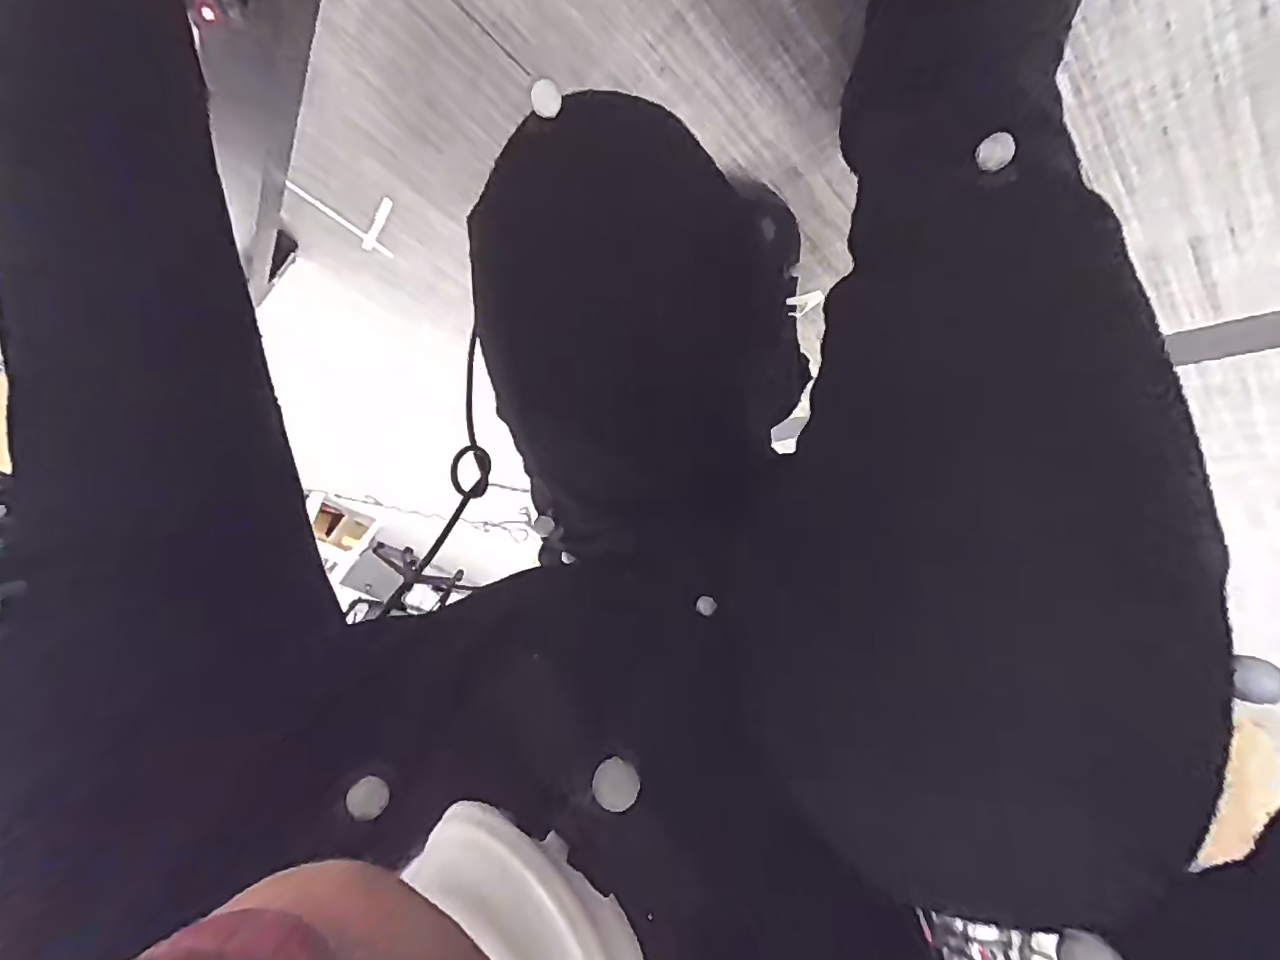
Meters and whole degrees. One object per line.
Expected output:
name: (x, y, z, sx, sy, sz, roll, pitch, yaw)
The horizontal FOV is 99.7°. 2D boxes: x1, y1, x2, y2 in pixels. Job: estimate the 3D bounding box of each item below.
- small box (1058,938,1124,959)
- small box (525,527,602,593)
small box: (1.135, 1.250, 1.310, 0.168, 0.176, 0.179, 35, 153, -32)
small box: (-0.252, 0.268, 1.811, 0.168, 0.176, 0.179, 32, 154, -29)
